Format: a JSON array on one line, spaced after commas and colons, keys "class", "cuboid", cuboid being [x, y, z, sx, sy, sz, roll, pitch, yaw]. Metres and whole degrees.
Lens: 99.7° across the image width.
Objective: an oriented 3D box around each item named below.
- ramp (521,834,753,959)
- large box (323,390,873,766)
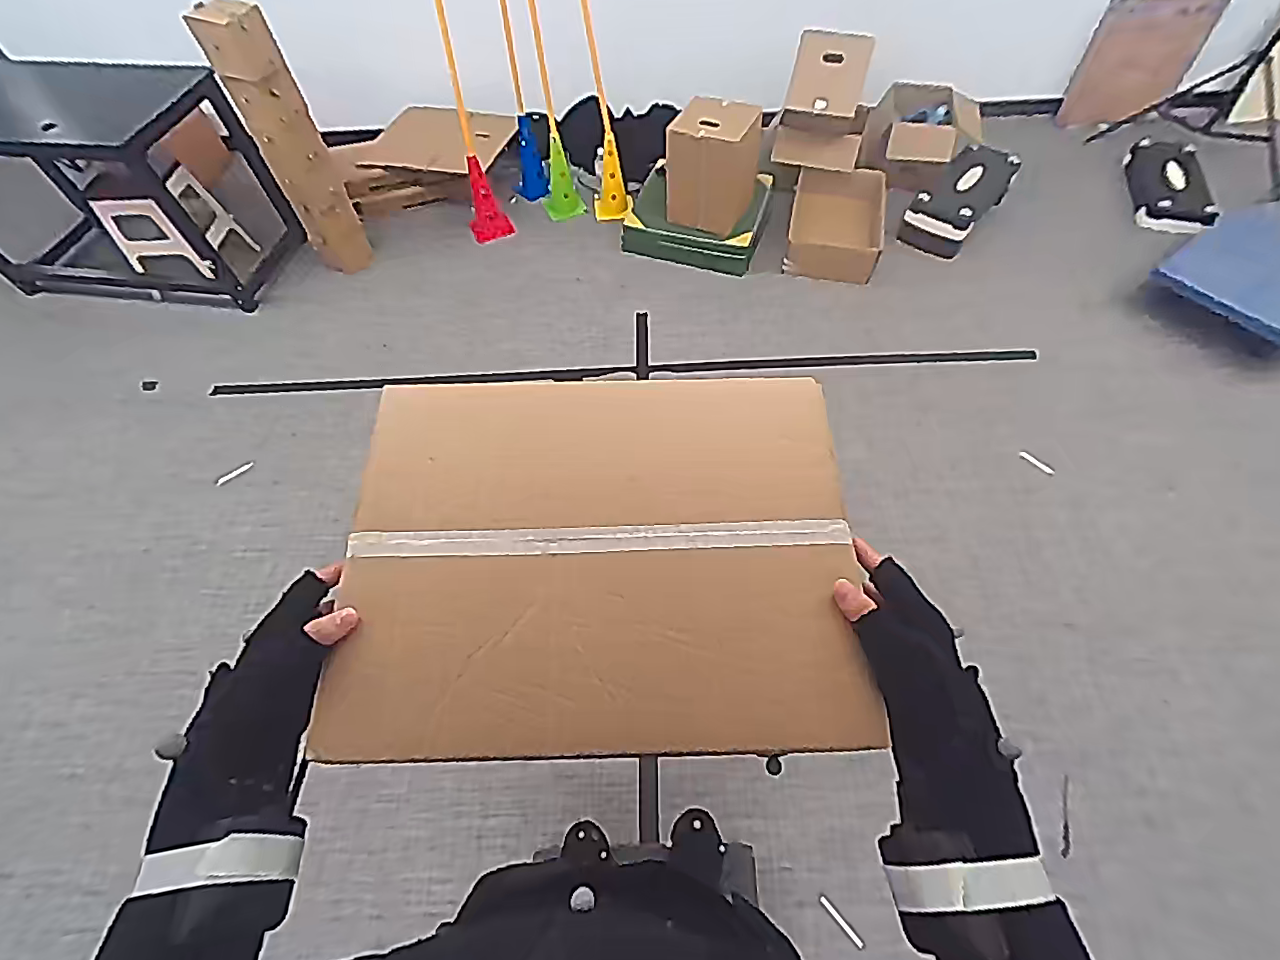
[{"class": "ramp", "cuboid": [0.001, 1.264, 1.032, 0.509, 0.206, 0.991, -2, 58, -2]}, {"class": "large box", "cuboid": [-0.032, 0.119, 0.583, 0.408, 0.320, 0.320, -1, 64, -1]}]
